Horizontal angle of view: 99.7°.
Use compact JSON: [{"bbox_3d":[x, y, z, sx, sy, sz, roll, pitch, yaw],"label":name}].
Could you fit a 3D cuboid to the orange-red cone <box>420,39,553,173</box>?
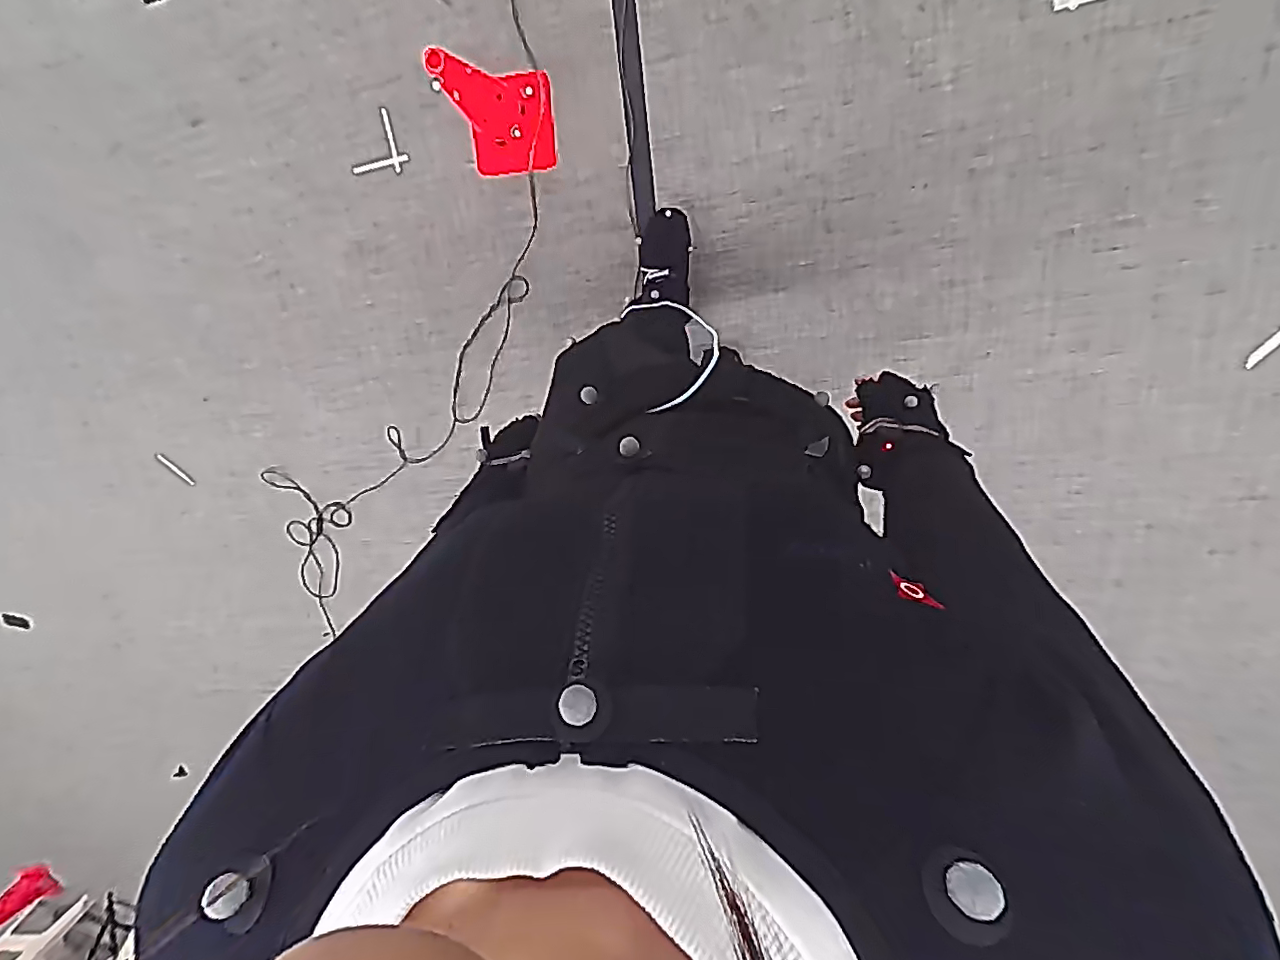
[{"bbox_3d":[-0.328,-0.774,1.082,0.199,0.360,0.198,1,106,11],"label":"orange-red cone"}]
